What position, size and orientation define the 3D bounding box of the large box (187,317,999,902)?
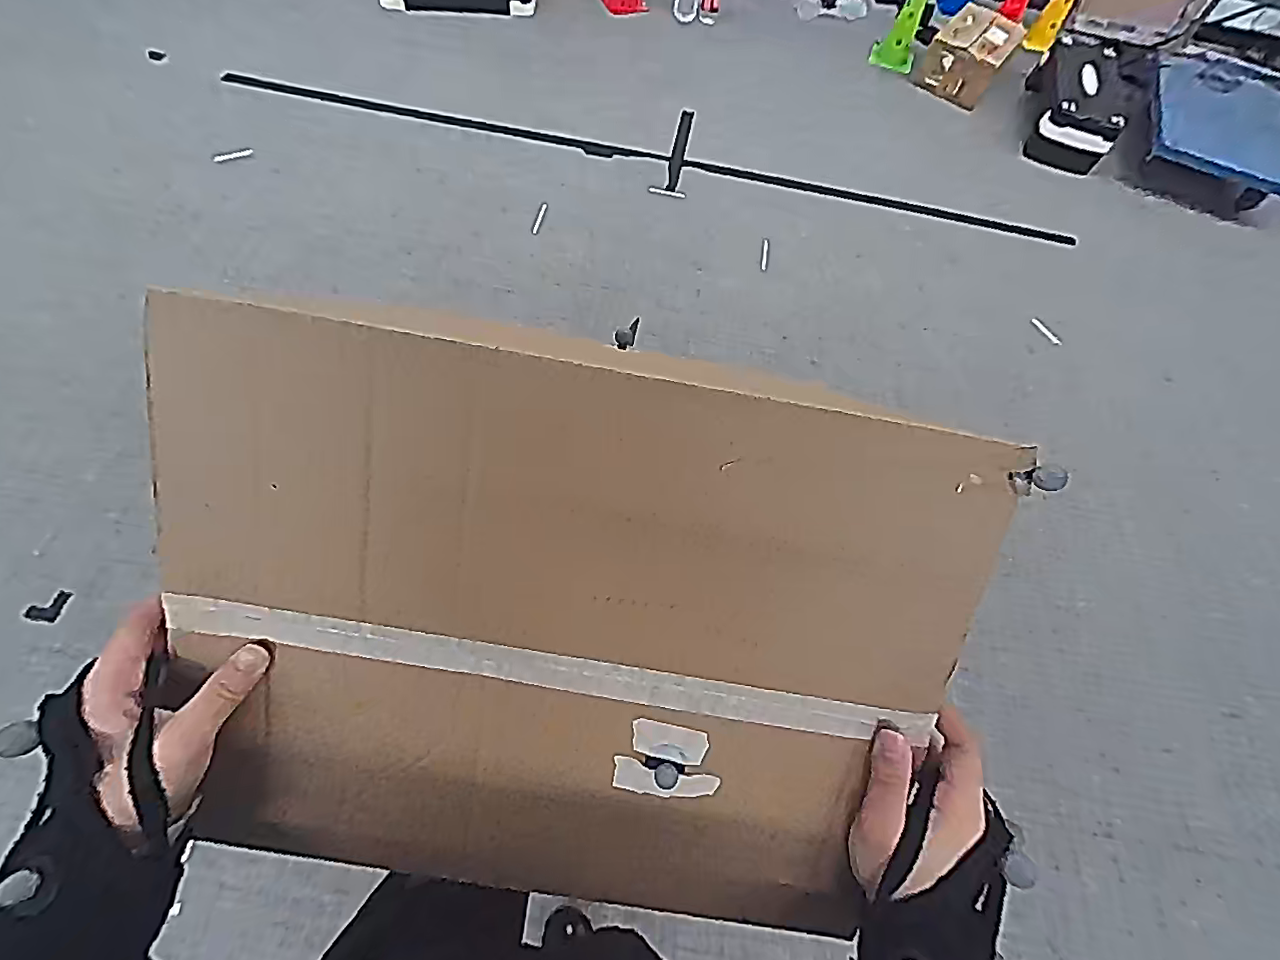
[{"bbox_3d":[-0.041,0.058,0.441,0.408,0.320,0.320,9,107,-3],"label":"large box"}]
